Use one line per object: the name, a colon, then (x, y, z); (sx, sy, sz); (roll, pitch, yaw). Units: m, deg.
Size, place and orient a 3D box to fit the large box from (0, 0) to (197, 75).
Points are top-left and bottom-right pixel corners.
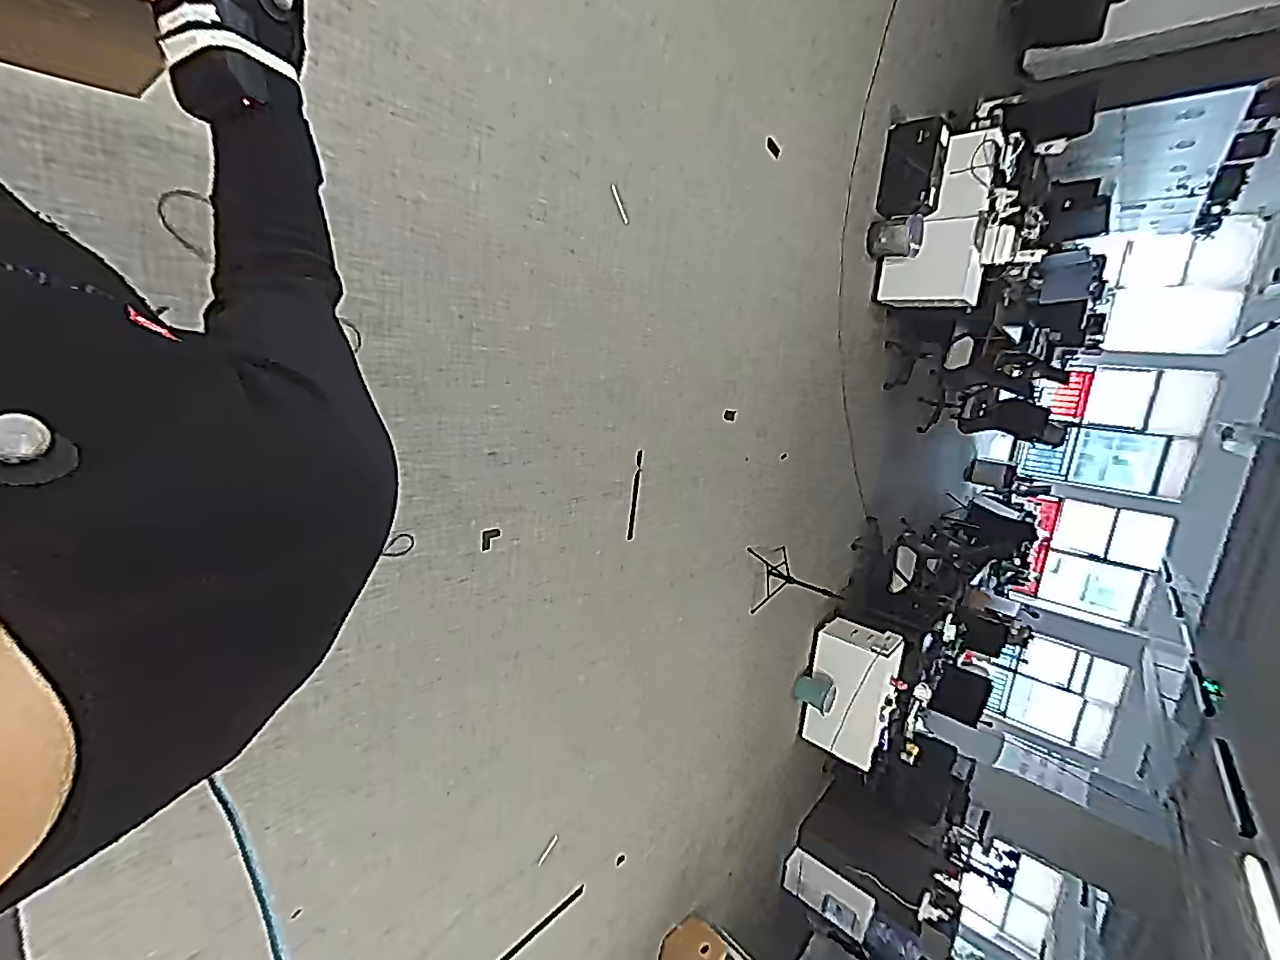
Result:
large box: (-0.547, -0.495, 0.292); (0.408, 0.320, 0.320); (-15, 117, -48)
